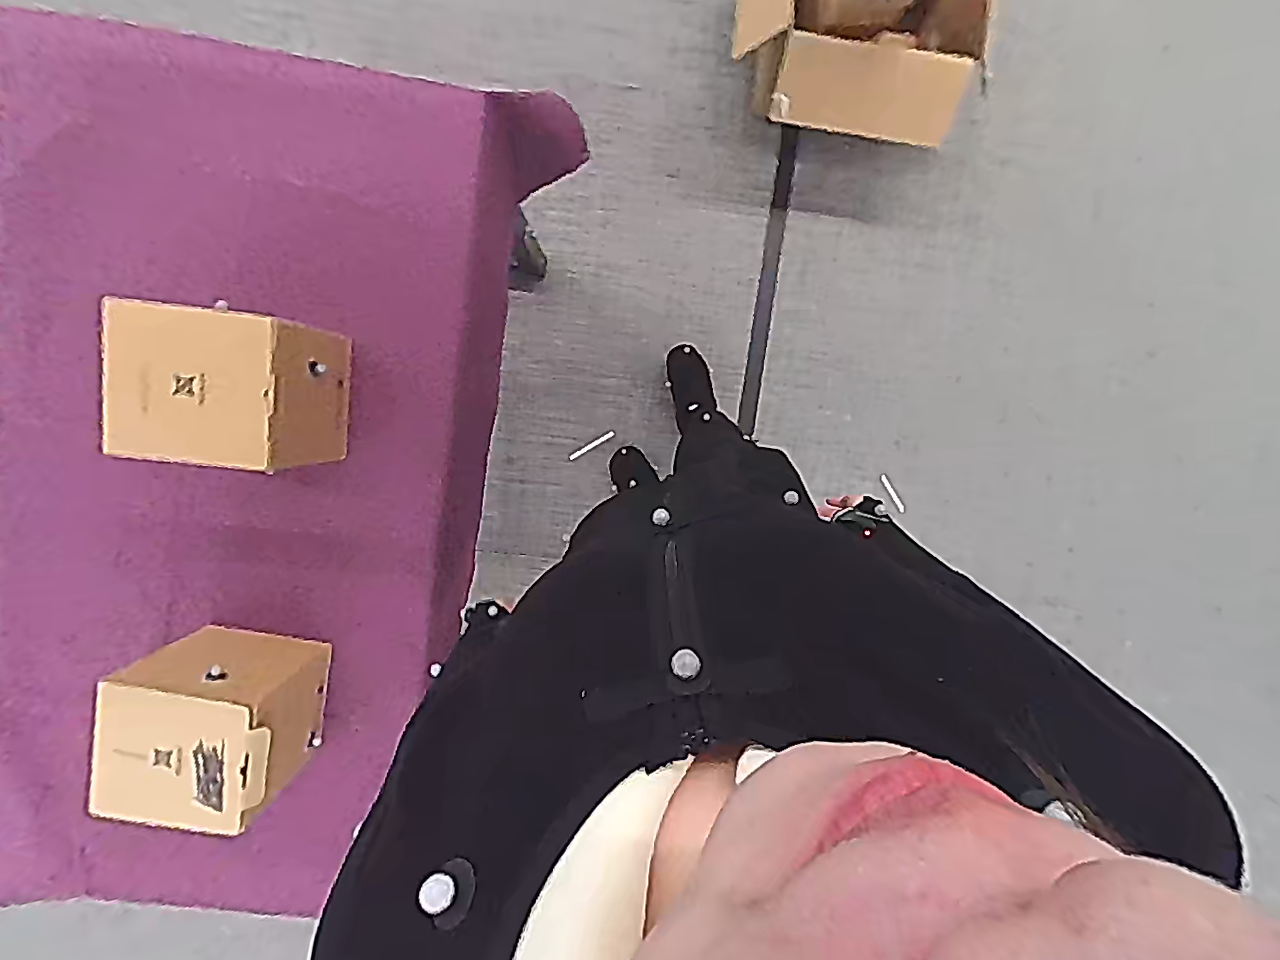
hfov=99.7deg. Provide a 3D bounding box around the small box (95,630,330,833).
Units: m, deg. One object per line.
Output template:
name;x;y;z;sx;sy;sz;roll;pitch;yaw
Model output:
small box;-0.533;0.310;0.699;0.179;0.176;0.168;10;96;-2

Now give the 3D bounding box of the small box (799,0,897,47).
small box;0.439;-1.048;1.122;0.179;0.176;0.168;-15;101;-3

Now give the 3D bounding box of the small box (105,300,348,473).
small box;-0.479;-0.107;0.652;0.179;0.176;0.168;6;96;-2
